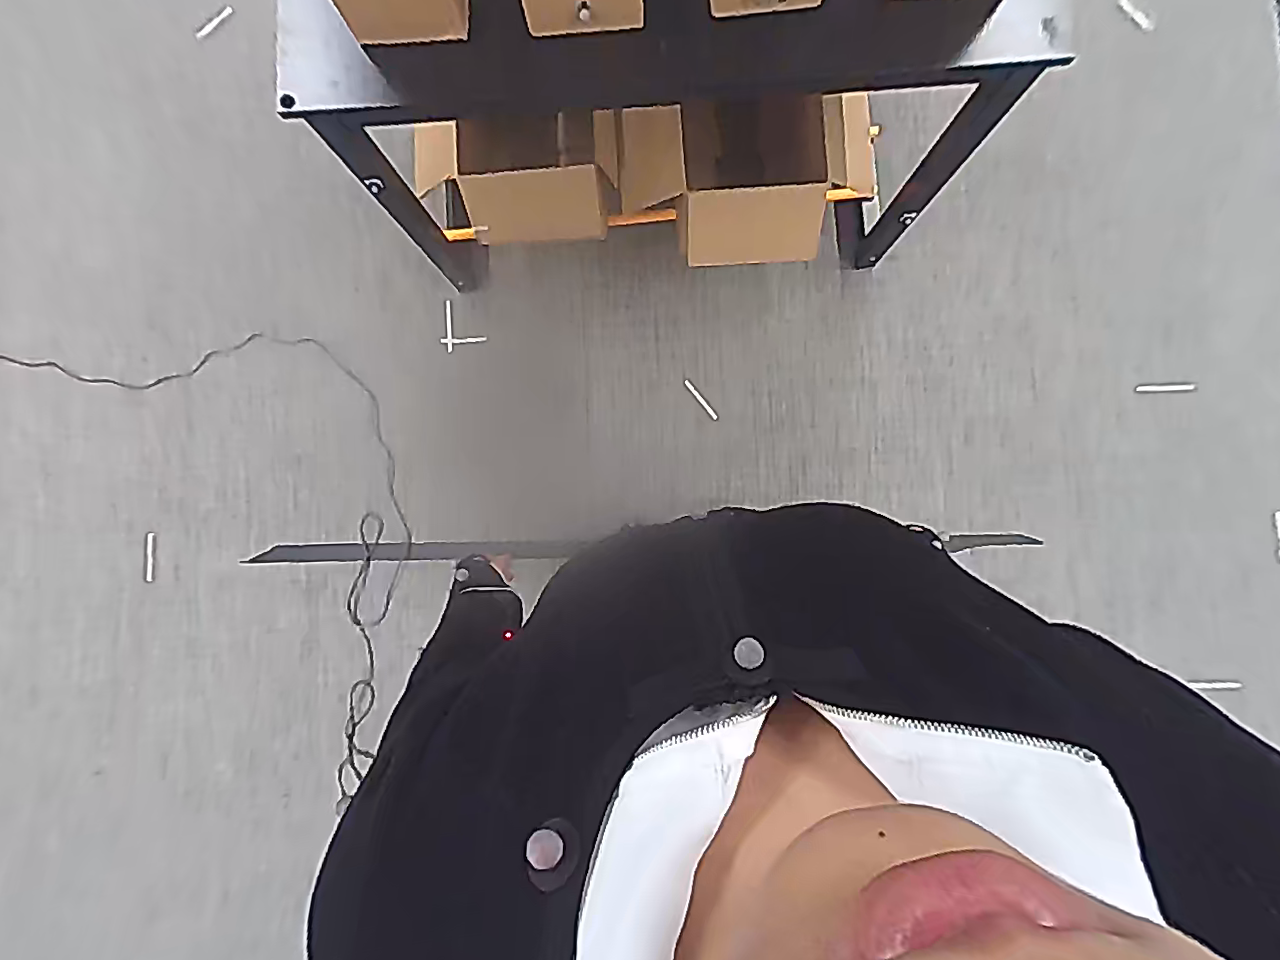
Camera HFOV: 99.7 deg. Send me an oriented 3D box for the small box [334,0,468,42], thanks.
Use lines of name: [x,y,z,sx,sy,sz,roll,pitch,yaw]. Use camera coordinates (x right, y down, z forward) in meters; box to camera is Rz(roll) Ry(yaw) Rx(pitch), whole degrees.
small box: [-0.354,-0.756,0.753,0.179,0.176,0.168,-2,87,0]

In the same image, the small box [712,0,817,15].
small box: [0.180,-0.798,0.741,0.168,0.176,0.179,-5,87,2]

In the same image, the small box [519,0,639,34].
small box: [-0.091,-0.766,0.747,0.179,0.176,0.168,-4,86,1]
